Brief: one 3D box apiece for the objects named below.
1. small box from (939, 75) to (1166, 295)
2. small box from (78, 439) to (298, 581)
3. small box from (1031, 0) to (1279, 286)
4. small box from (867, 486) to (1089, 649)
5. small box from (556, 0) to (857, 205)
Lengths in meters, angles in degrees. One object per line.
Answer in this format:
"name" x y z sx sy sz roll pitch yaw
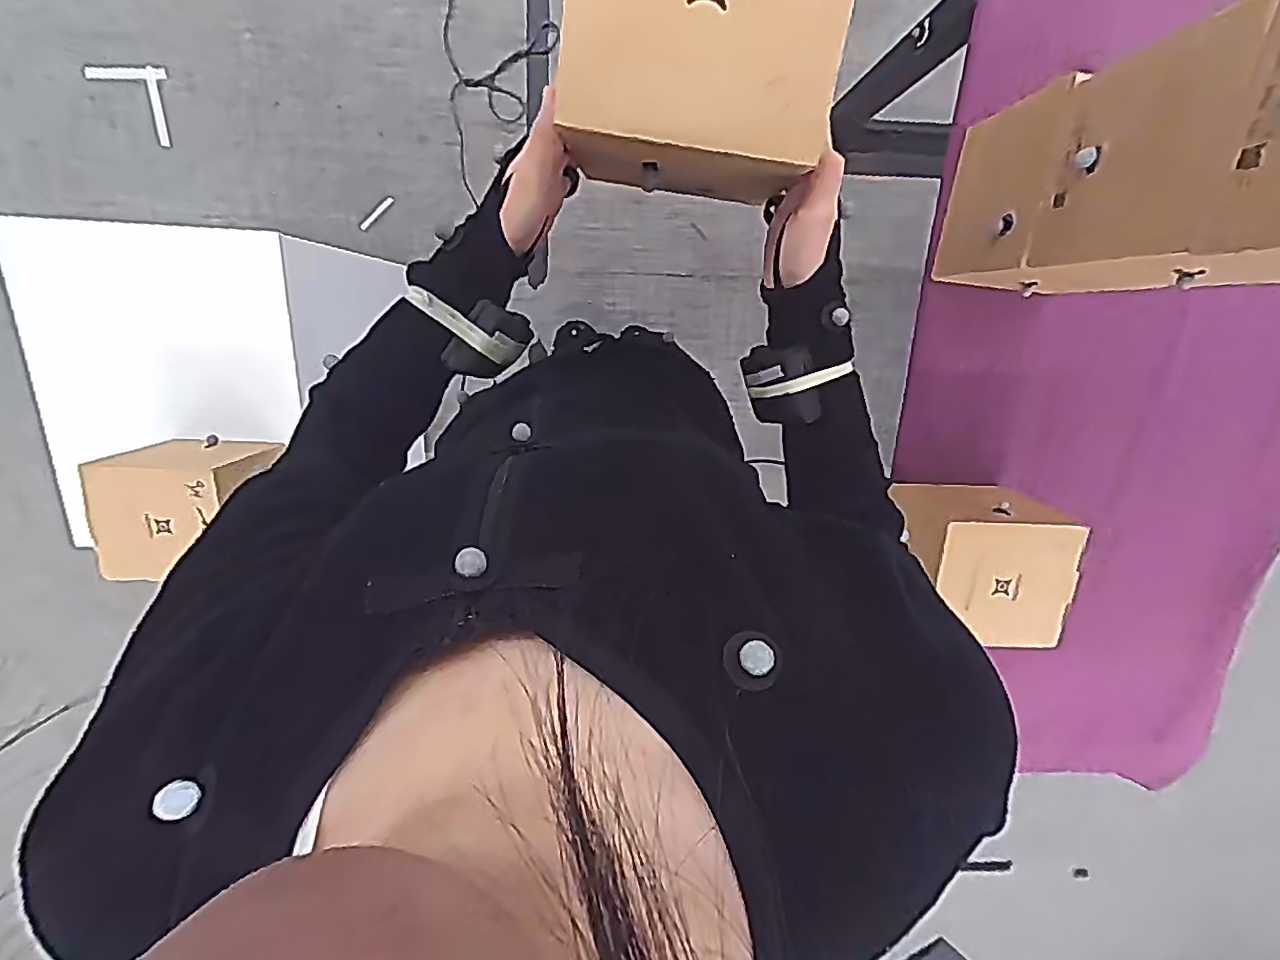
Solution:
"small box" 0.472 -0.309 0.607 0.168 0.176 0.179 5 106 -5
"small box" -0.650 0.036 0.802 0.179 0.176 0.168 2 106 -2
"small box" 0.488 -0.258 0.452 0.179 0.176 0.168 5 106 -3
"small box" 0.438 0.109 0.732 0.179 0.176 0.168 2 105 -2
"small box" 0.044 -0.306 0.374 0.168 0.176 0.179 7 107 -1
